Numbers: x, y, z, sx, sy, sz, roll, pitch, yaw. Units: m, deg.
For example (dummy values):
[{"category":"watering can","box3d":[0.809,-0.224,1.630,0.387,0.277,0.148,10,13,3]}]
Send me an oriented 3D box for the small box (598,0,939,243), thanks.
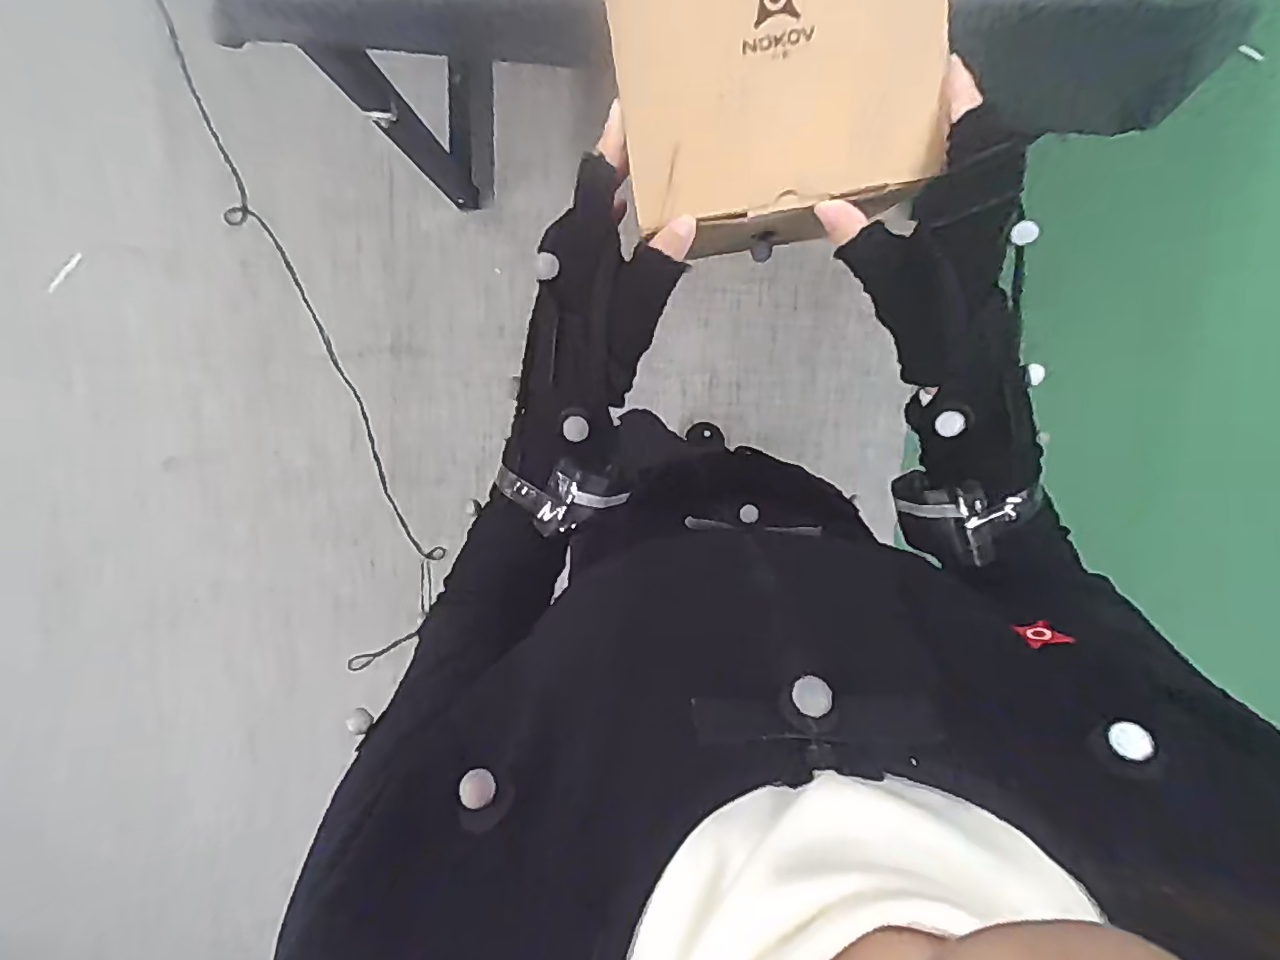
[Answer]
[{"category":"small box","box3d":[0.068,-0.258,0.342,0.168,0.176,0.179,-8,107,6]}]
